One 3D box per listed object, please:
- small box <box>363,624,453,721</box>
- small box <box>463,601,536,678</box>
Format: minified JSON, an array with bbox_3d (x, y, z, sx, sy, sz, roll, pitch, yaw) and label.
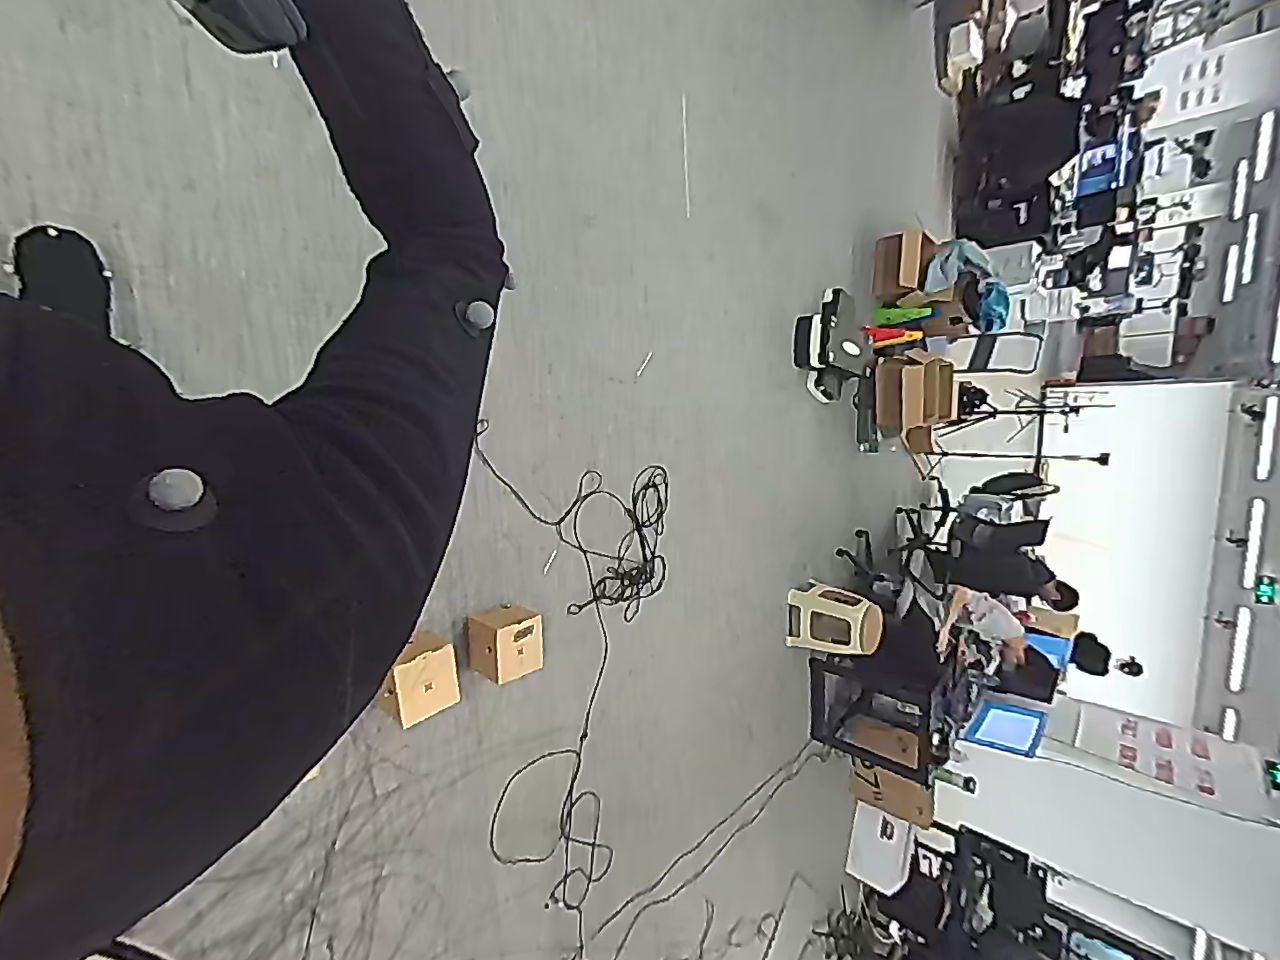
[{"bbox_3d":[-0.642,0.523,1.495,0.168,0.176,0.179,-15,104,-46],"label":"small box"},{"bbox_3d":[-0.445,0.491,1.706,0.168,0.176,0.179,-8,101,-47],"label":"small box"}]
